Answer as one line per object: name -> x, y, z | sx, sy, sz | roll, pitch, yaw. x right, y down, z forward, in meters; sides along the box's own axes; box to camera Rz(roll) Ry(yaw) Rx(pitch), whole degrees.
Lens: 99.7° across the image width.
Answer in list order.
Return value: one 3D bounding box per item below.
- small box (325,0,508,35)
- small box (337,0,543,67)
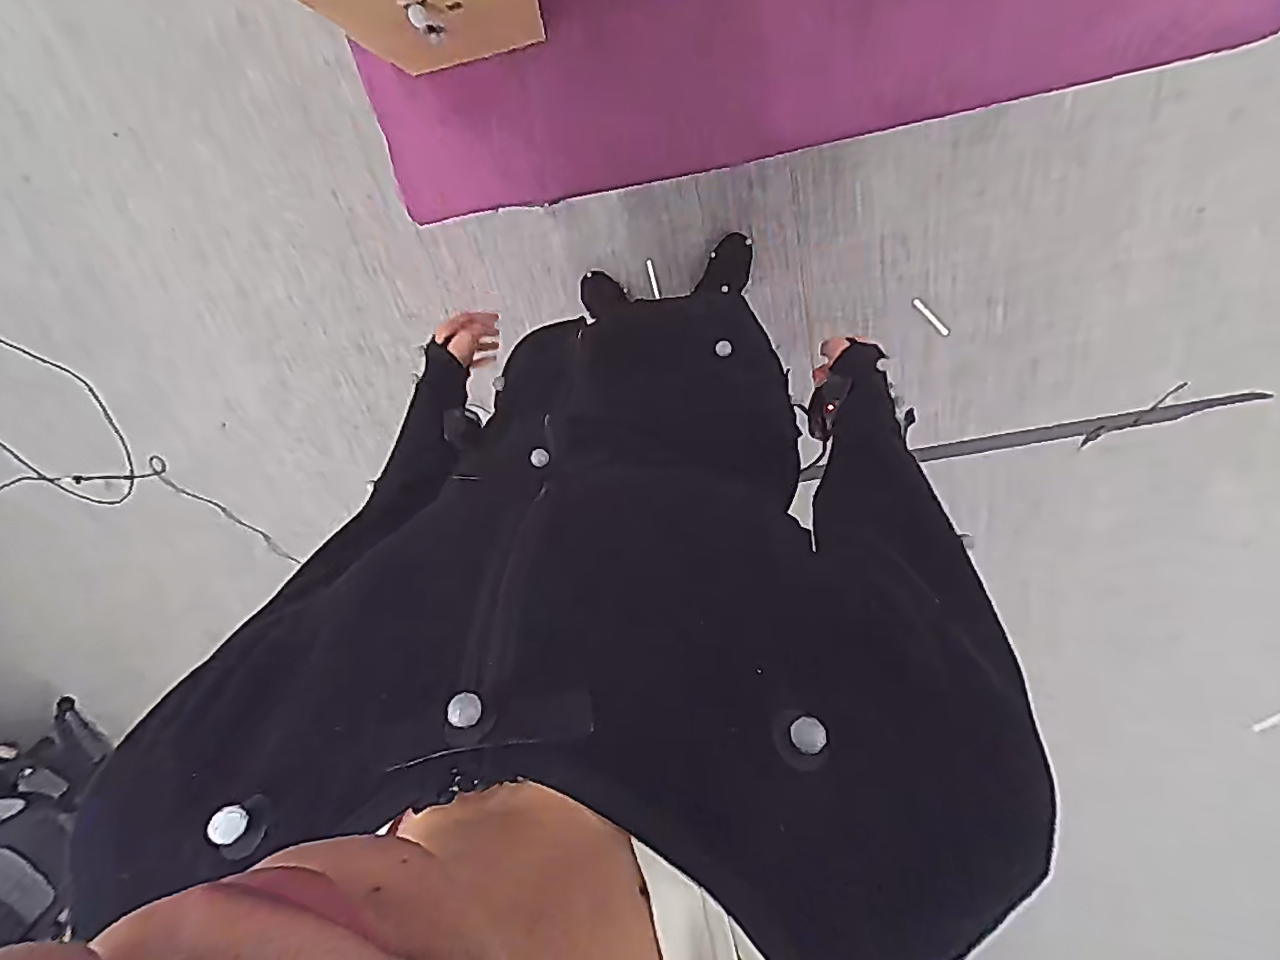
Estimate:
small box -> -0.208, -0.486, 0.410 | 0.168, 0.176, 0.179 | -9, 116, 7
small box -> -0.216, -0.559, 0.558 | 0.179, 0.176, 0.168 | -9, 115, 6
